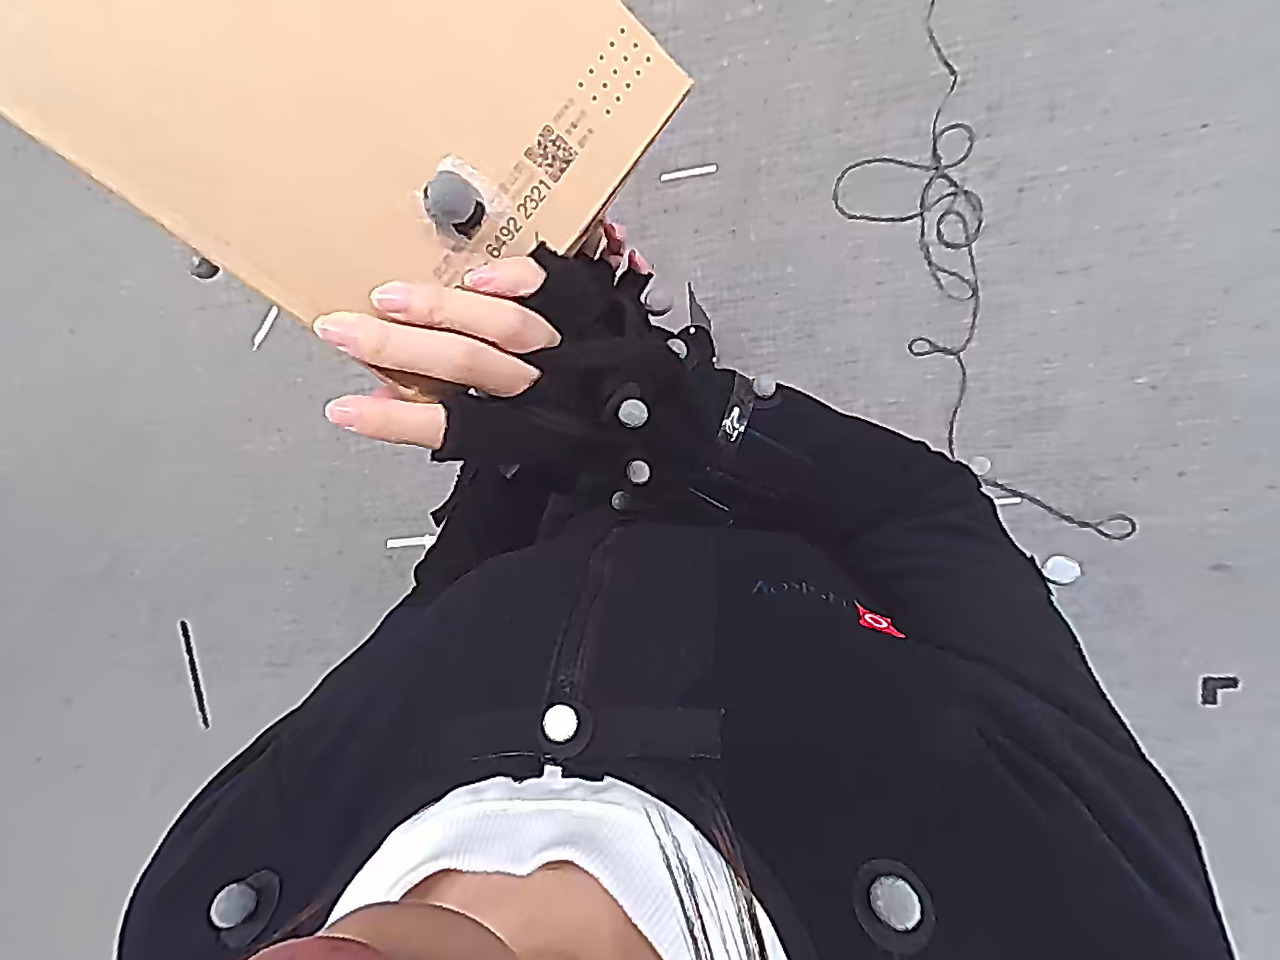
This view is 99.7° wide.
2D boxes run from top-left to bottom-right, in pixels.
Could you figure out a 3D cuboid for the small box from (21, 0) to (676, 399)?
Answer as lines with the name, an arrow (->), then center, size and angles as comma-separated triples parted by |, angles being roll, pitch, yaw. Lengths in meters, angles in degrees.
small box -> -0.111, -0.156, 0.279 | 0.176, 0.179, 0.168 | 37, 88, -18
